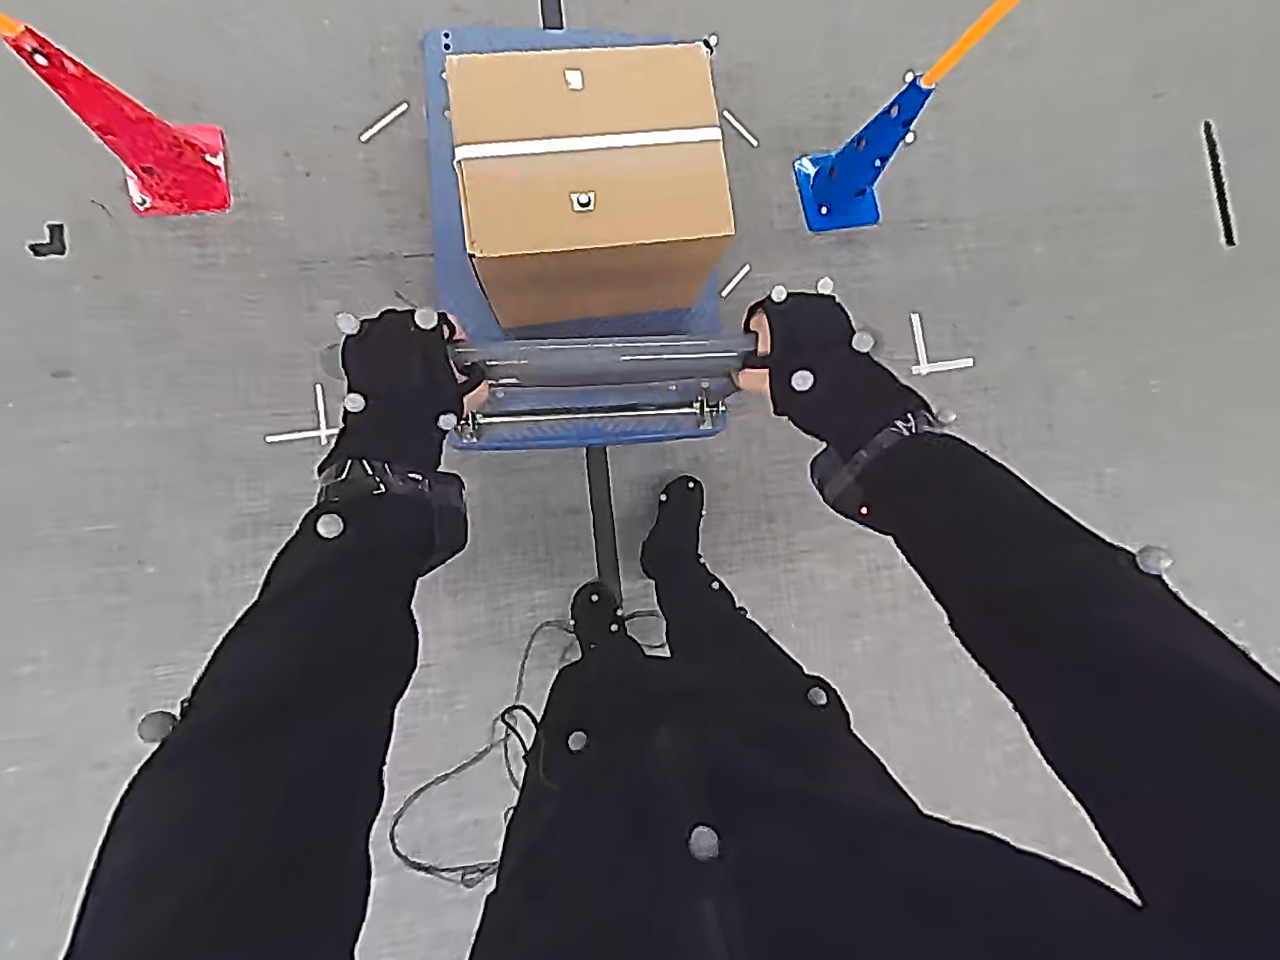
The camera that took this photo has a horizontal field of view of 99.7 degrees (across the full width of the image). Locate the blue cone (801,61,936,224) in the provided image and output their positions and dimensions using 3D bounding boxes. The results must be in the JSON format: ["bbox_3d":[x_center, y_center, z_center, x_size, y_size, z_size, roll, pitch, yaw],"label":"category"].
[{"bbox_3d":[0.532,-0.761,1.216,0.193,0.380,0.192,-10,87,-8],"label":"blue cone"}]
